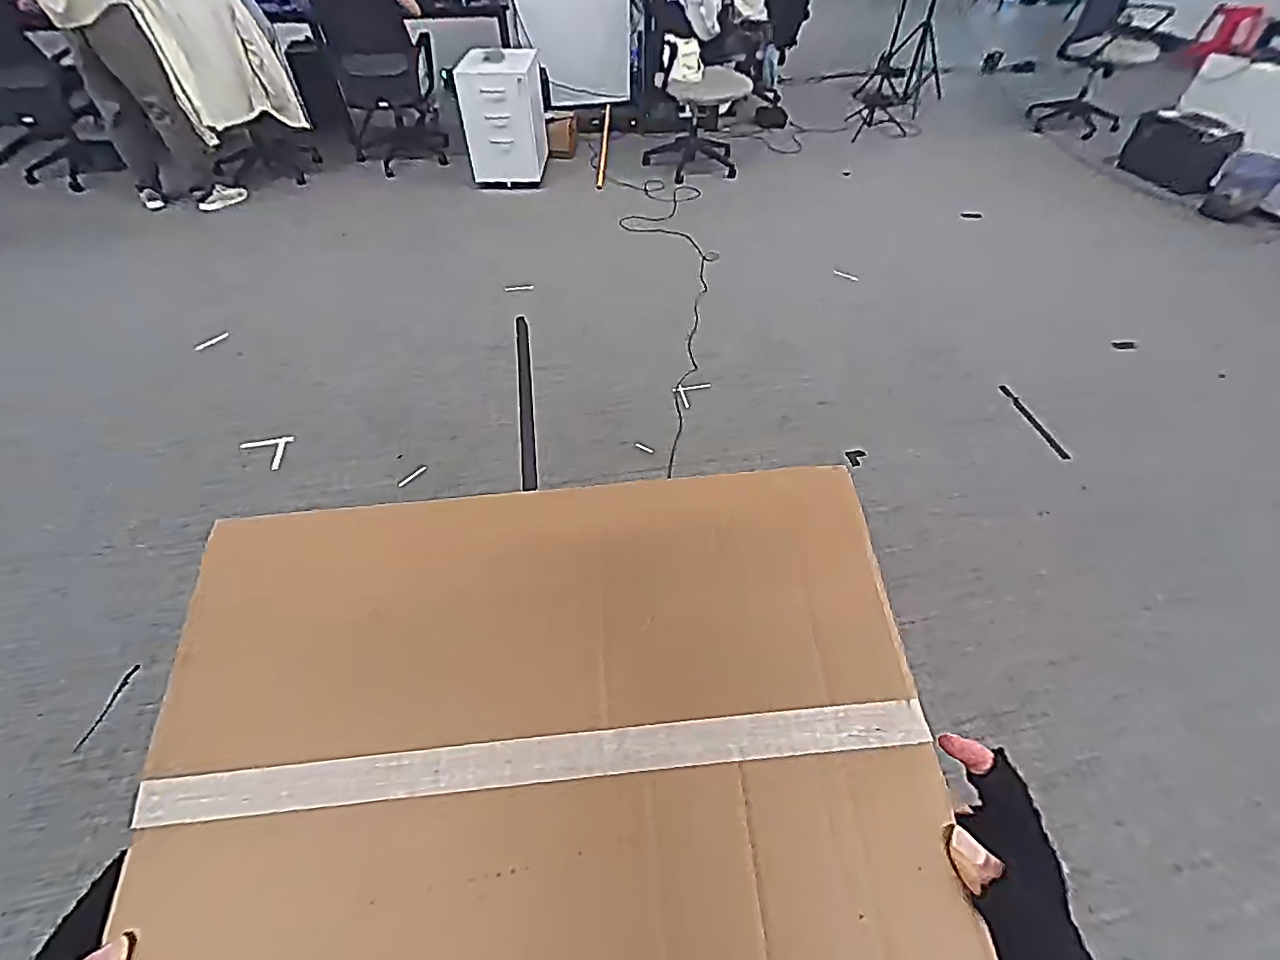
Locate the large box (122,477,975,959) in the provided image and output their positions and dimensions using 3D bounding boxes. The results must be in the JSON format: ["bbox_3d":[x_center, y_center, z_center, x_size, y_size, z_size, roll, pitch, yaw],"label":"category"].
[{"bbox_3d":[-0.051,0.220,0.422,0.408,0.320,0.320,-5,64,-2],"label":"large box"}]
